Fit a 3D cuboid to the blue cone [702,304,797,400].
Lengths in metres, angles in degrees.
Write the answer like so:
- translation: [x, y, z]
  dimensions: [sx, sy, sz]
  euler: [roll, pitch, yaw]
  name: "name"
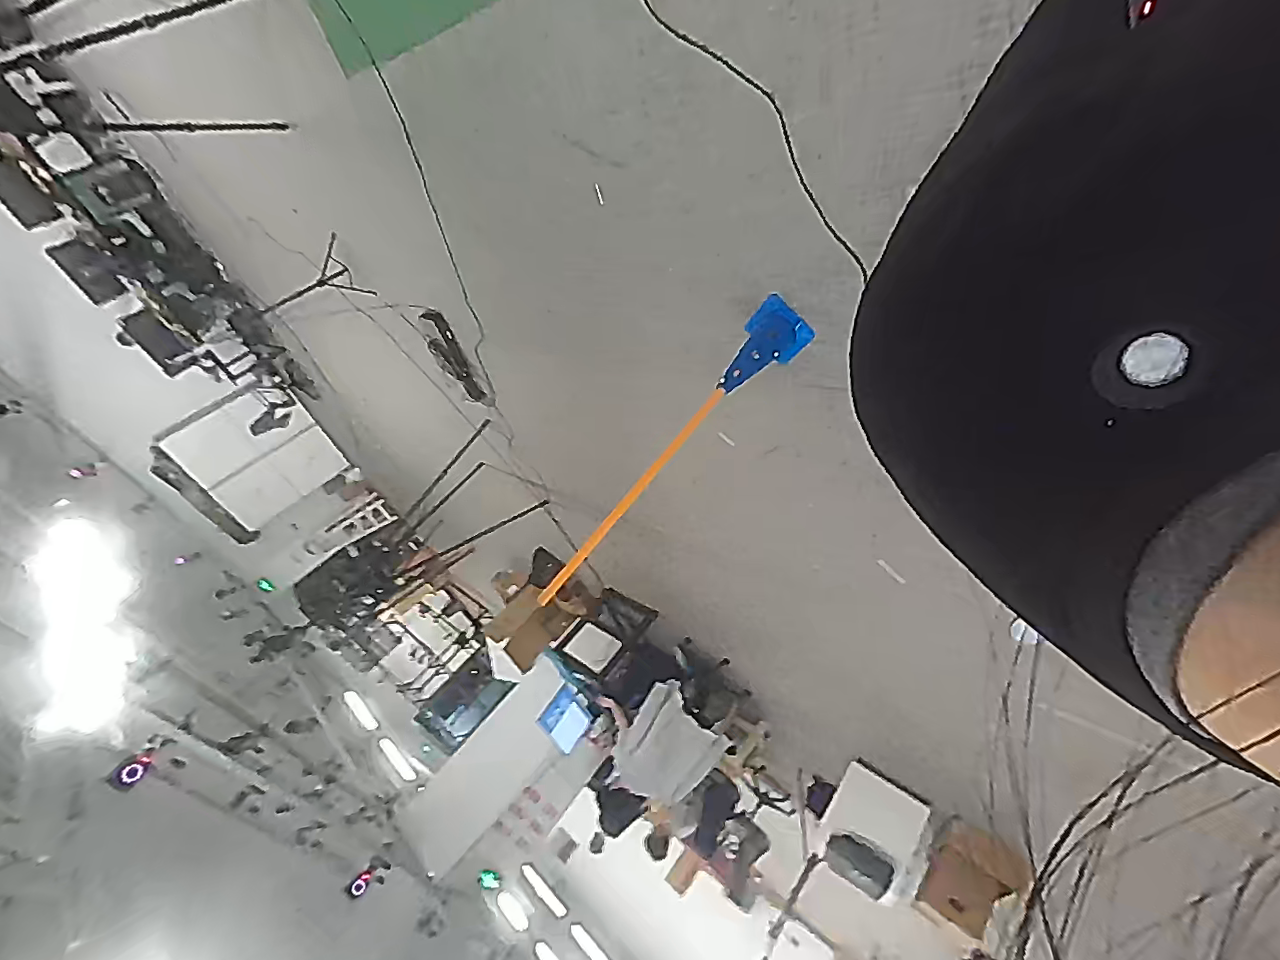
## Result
- translation: [0.328, -0.375, 1.754]
  dimensions: [0.192, 0.380, 0.193]
  euler: [43, 153, 1]
  name: "blue cone"
